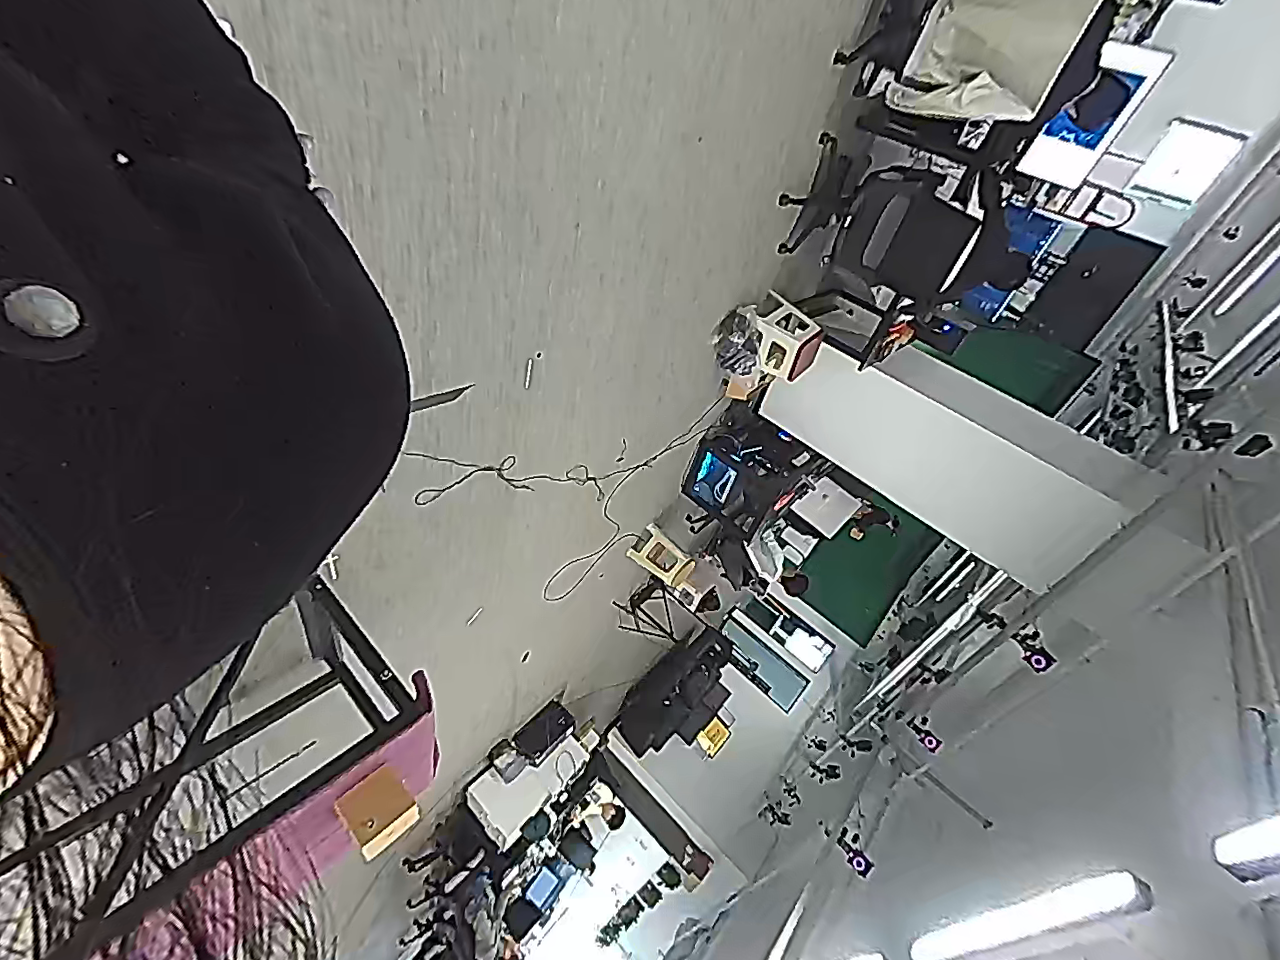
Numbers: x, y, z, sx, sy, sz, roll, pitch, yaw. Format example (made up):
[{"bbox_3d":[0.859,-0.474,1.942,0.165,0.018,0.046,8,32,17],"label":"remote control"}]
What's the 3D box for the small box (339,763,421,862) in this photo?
[{"bbox_3d":[-0.810,1.030,1.682,0.179,0.176,0.168,-31,151,-40],"label":"small box"}]
